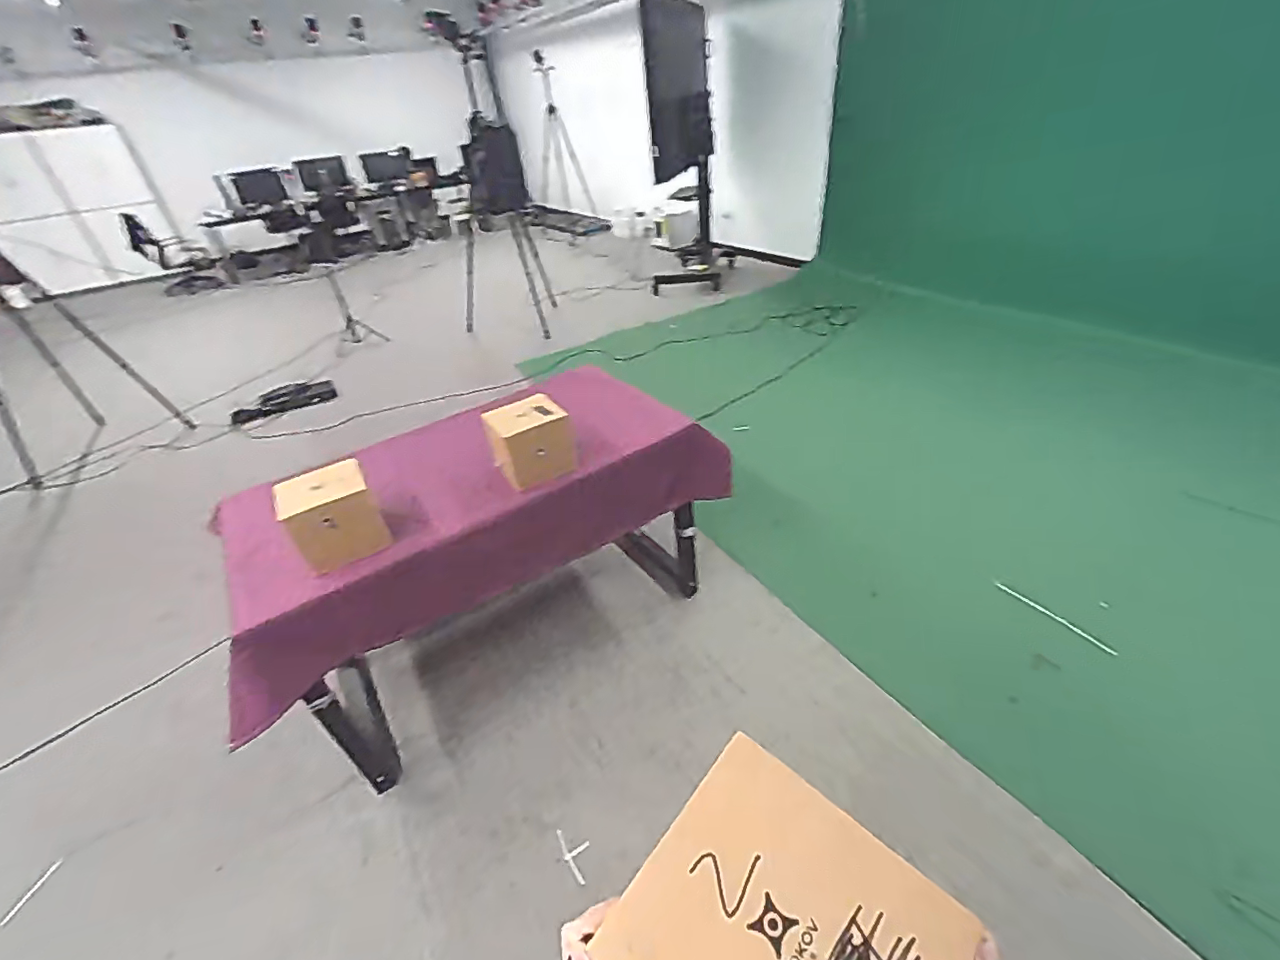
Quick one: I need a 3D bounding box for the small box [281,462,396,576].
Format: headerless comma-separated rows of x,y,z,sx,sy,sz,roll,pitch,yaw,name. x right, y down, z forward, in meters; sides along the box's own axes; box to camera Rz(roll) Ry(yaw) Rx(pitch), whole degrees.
-0.691,0.091,1.244,0.179,0.176,0.168,-24,38,-22,small box

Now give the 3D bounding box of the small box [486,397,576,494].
-0.281,-0.092,1.431,0.179,0.176,0.168,-25,38,-22,small box
